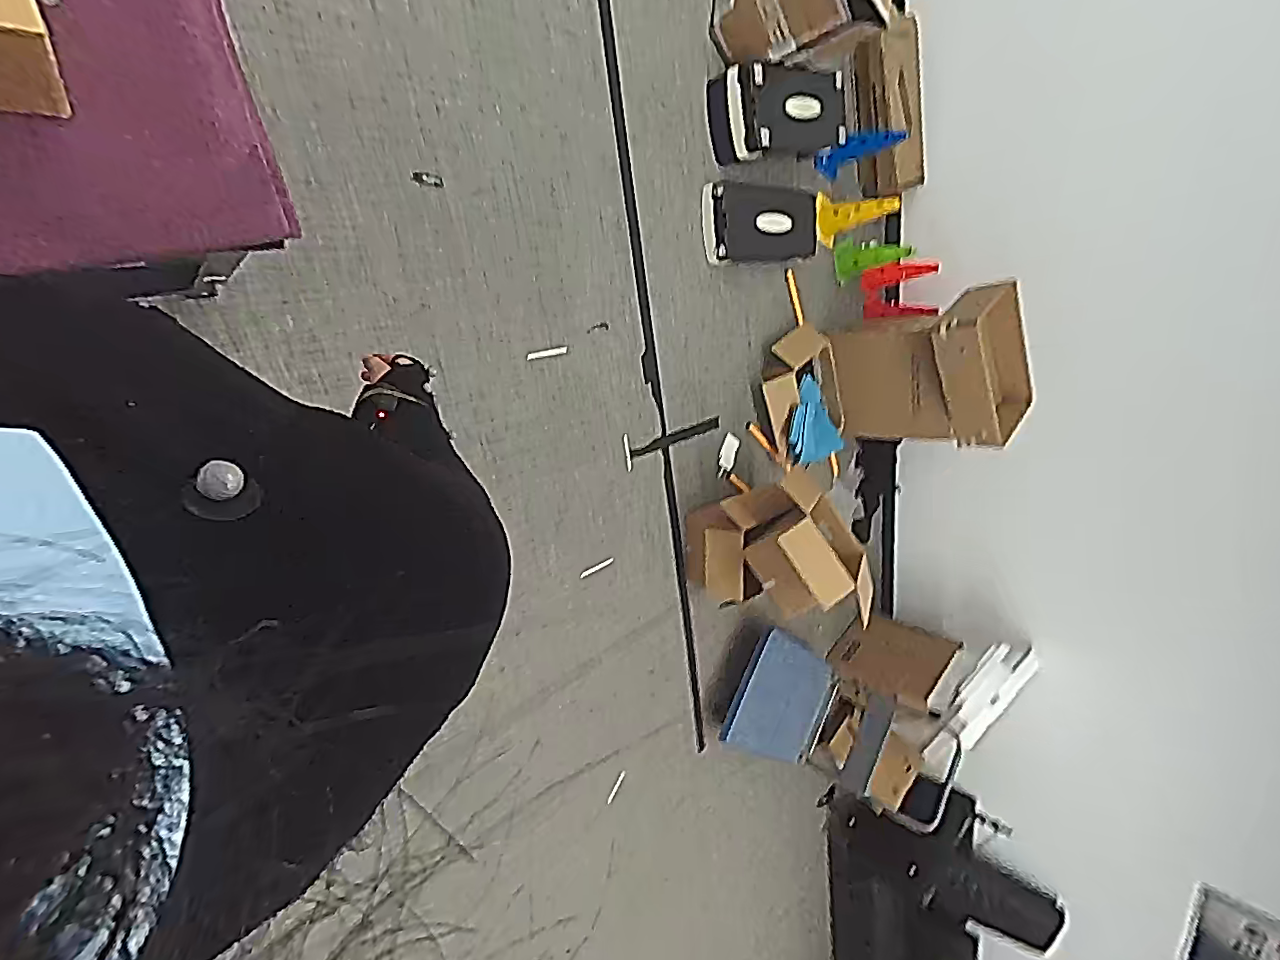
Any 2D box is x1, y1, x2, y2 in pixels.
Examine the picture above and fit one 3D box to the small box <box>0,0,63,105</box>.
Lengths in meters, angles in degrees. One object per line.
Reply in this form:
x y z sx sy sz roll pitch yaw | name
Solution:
-0.553 -0.391 0.377 0.179 0.176 0.168 -20 111 -38 | small box
